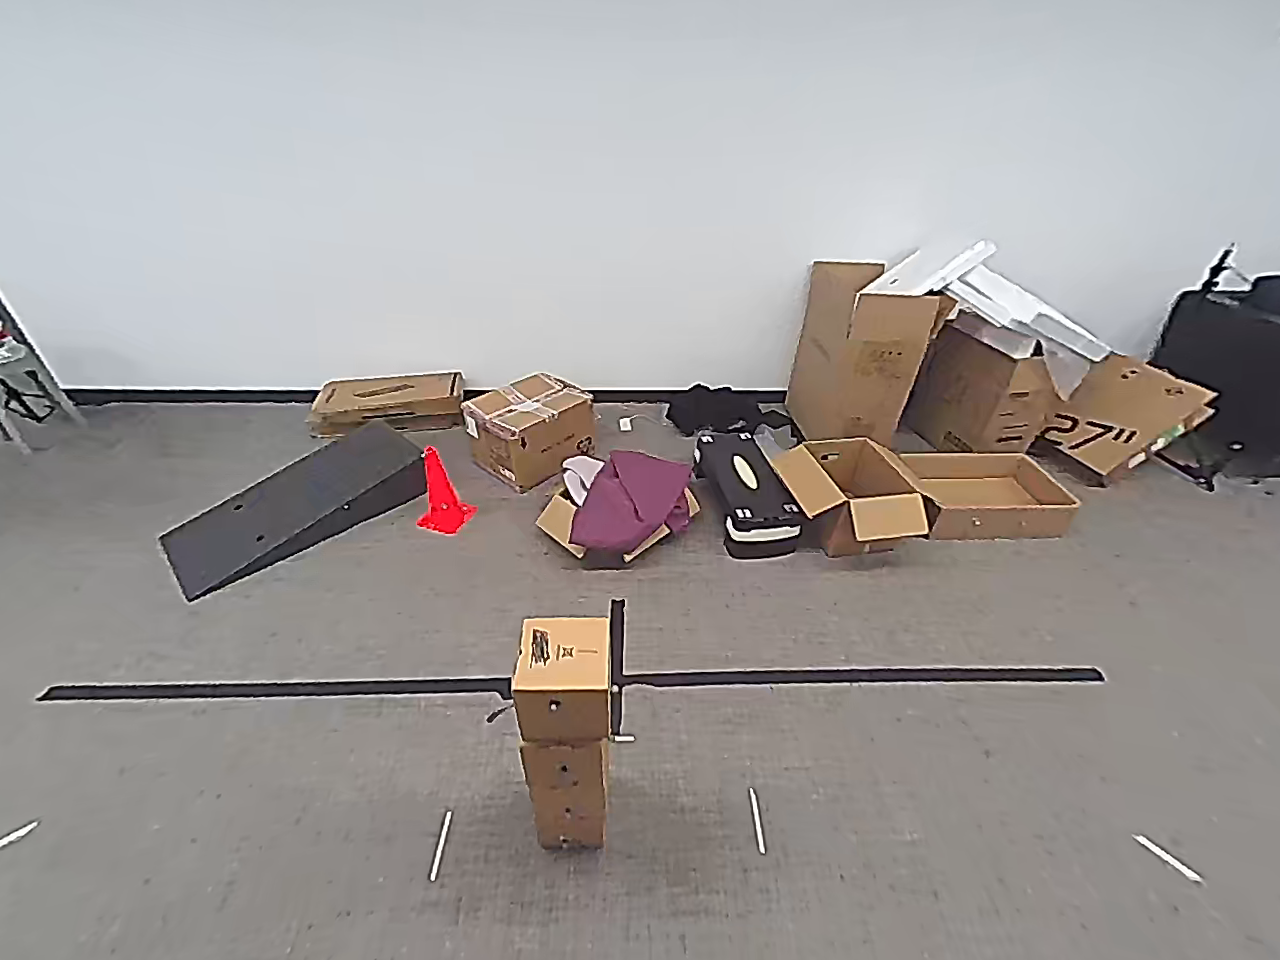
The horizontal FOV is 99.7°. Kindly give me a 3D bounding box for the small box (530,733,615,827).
[{"bbox_3d":[-0.140,0.629,1.184,0.168,0.176,0.179,-1,36,-1],"label":"small box"}]

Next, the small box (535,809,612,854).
[{"bbox_3d":[-0.151,0.758,1.288,0.168,0.176,0.179,-1,37,-1],"label":"small box"}]

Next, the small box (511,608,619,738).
[{"bbox_3d":[-0.129,0.357,0.999,0.179,0.176,0.168,0,35,-2],"label":"small box"}]

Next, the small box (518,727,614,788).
[{"bbox_3d":[-0.138,0.498,1.087,0.168,0.176,0.179,0,36,-1],"label":"small box"}]
